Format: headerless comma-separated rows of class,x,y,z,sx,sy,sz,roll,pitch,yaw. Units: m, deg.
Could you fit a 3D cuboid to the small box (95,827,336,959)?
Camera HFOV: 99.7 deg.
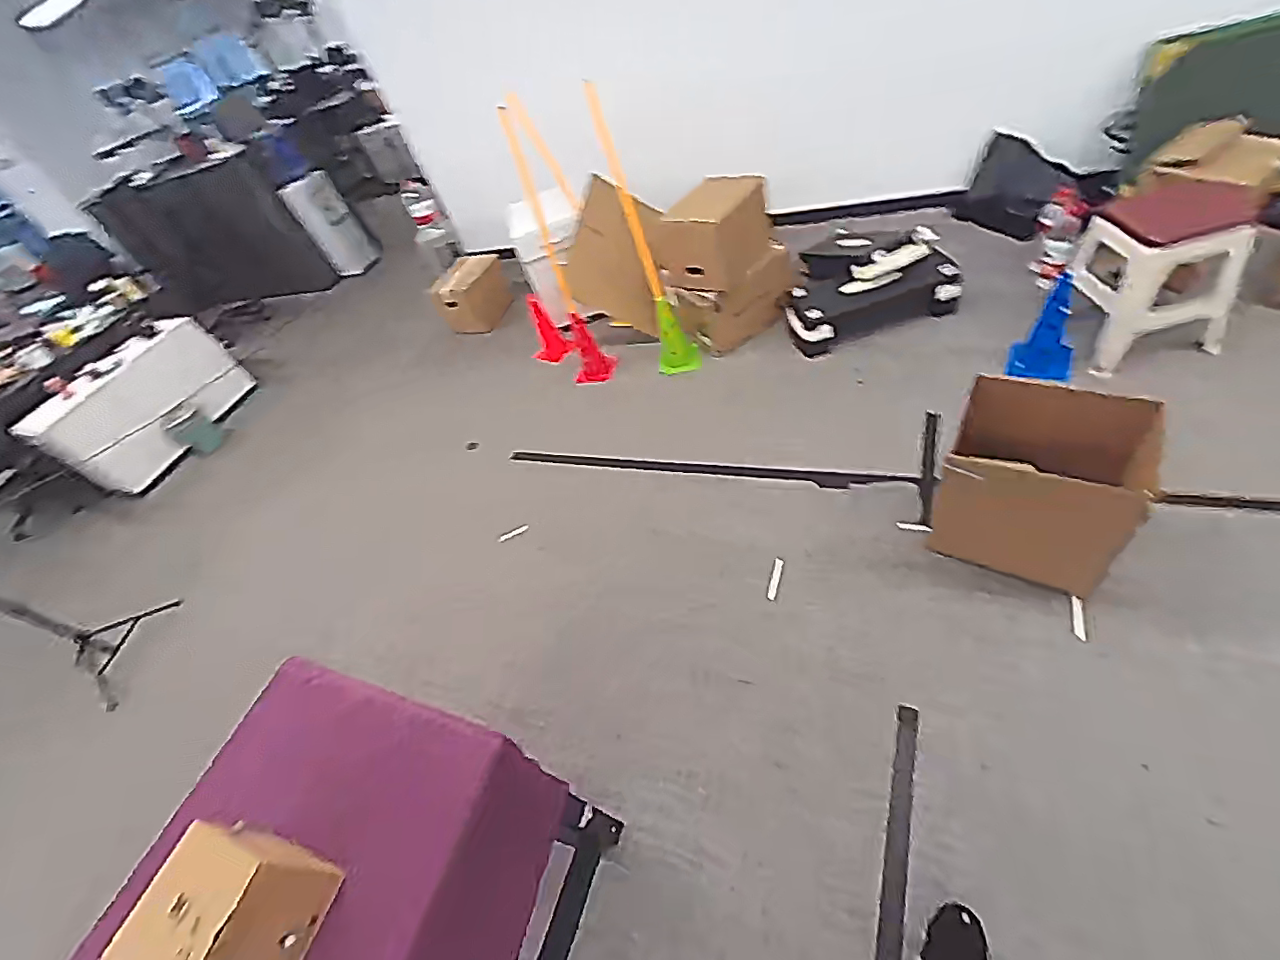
small box,-0.590,0.629,0.773,0.179,0.176,0.168,4,52,25
